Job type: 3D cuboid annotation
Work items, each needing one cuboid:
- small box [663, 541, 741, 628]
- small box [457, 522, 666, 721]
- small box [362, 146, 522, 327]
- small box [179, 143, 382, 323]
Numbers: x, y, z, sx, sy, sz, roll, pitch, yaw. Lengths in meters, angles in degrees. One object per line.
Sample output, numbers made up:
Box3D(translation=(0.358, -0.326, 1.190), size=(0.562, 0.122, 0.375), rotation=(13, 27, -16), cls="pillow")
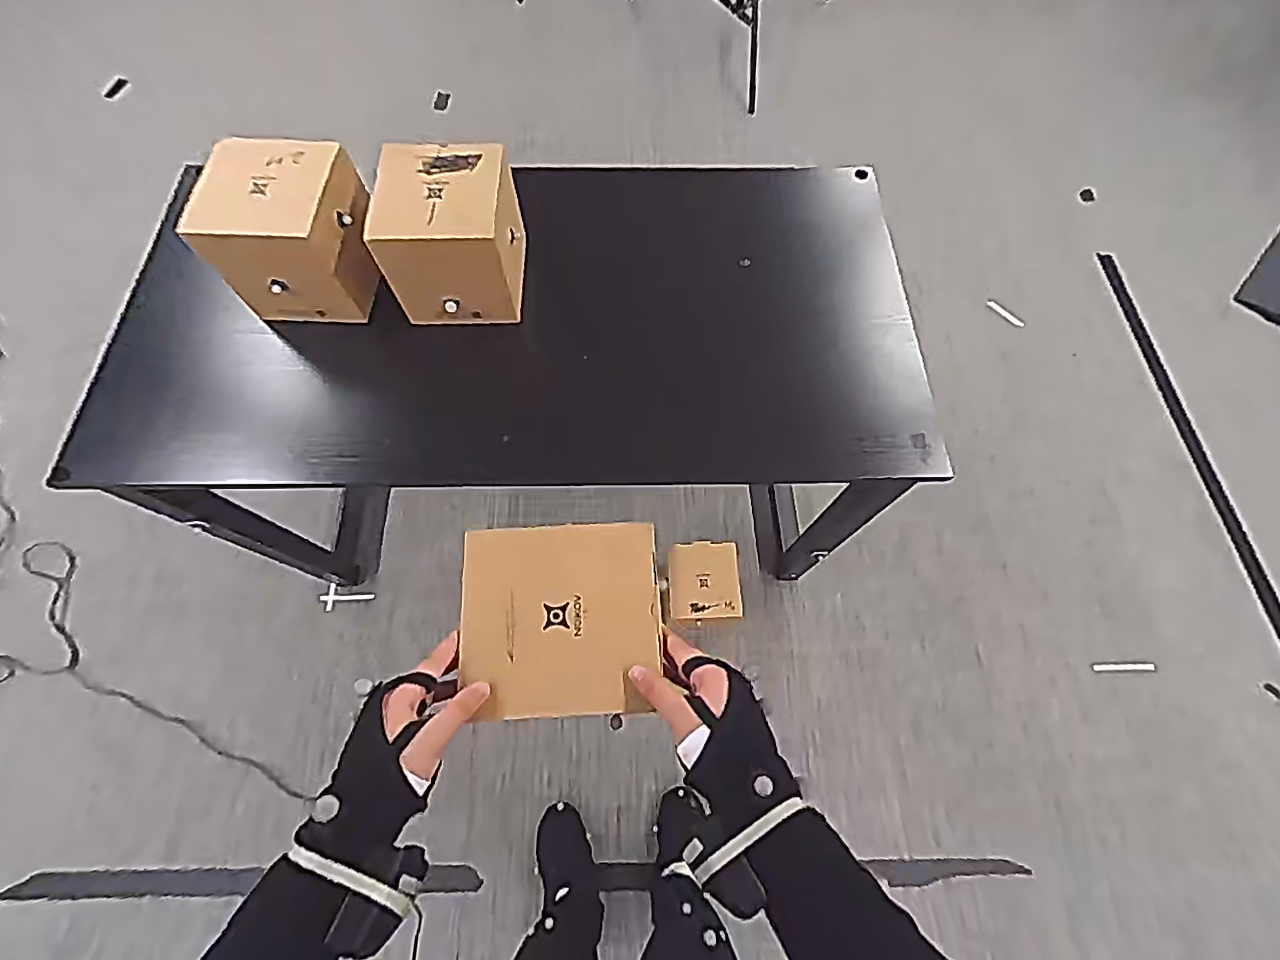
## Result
Box3D(translation=(0.144, 0.259, 1.321), size=(0.168, 0.176, 0.179), rotation=(-2, 67, -1), cls="small box")
Box3D(translation=(-0.072, 0.149, 0.554), size=(0.179, 0.176, 0.168), rotation=(-4, 67, -2), cls="small box")
Box3D(translation=(-0.269, -0.346, 0.782), size=(0.168, 0.176, 0.179), rotation=(-1, 68, -1), cls="small box")
Box3D(translation=(-0.494, -0.347, 0.779), size=(0.168, 0.176, 0.179), rotation=(2, 67, 0), cls="small box")
